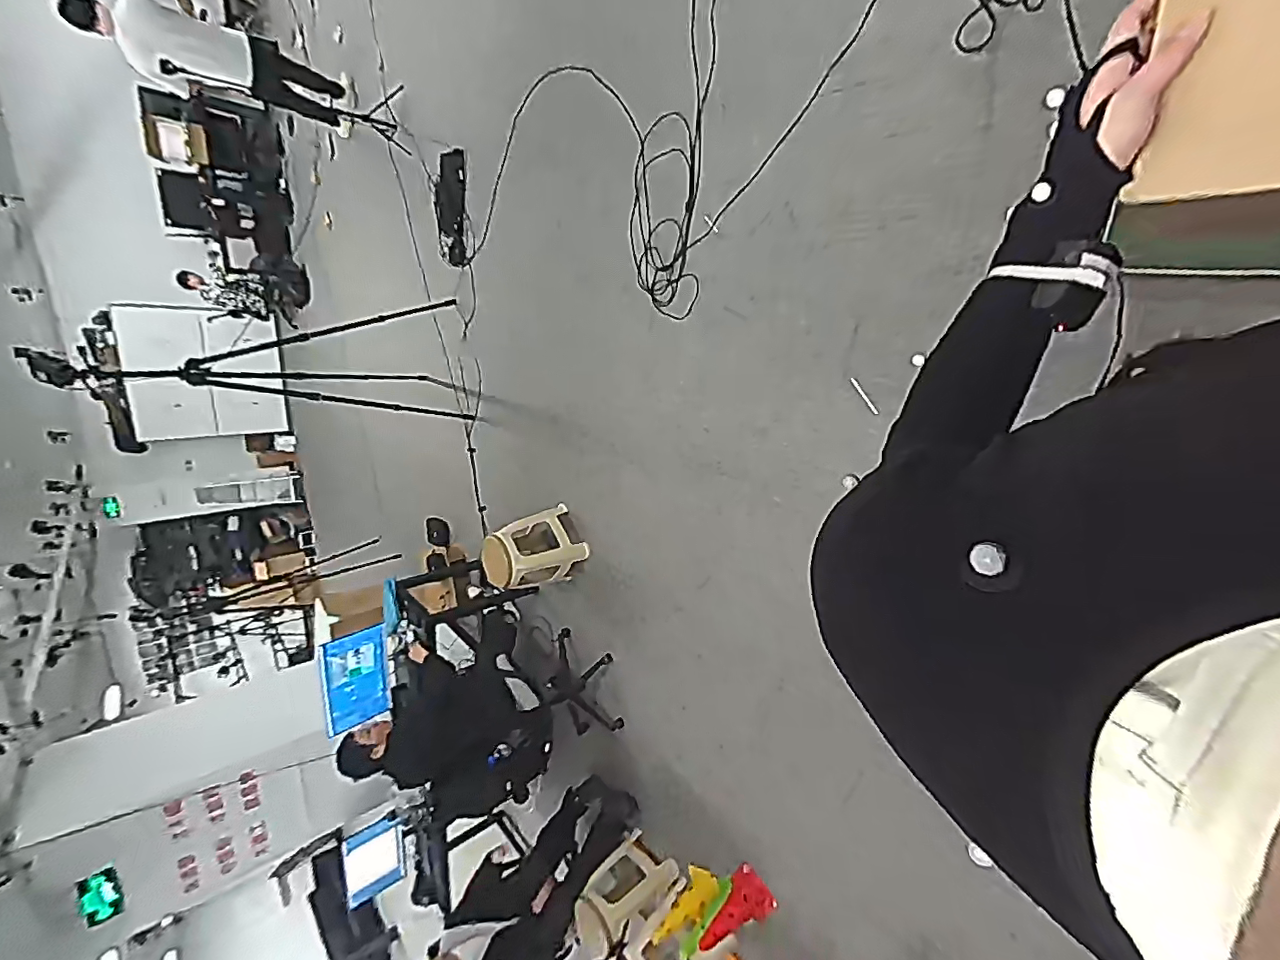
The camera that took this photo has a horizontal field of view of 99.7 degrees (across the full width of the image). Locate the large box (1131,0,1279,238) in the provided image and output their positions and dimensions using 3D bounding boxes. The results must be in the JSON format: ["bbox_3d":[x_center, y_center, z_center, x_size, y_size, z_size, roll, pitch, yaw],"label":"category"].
[{"bbox_3d":[0.650,-0.373,0.375,0.408,0.320,0.320,16,113,43],"label":"large box"}]
